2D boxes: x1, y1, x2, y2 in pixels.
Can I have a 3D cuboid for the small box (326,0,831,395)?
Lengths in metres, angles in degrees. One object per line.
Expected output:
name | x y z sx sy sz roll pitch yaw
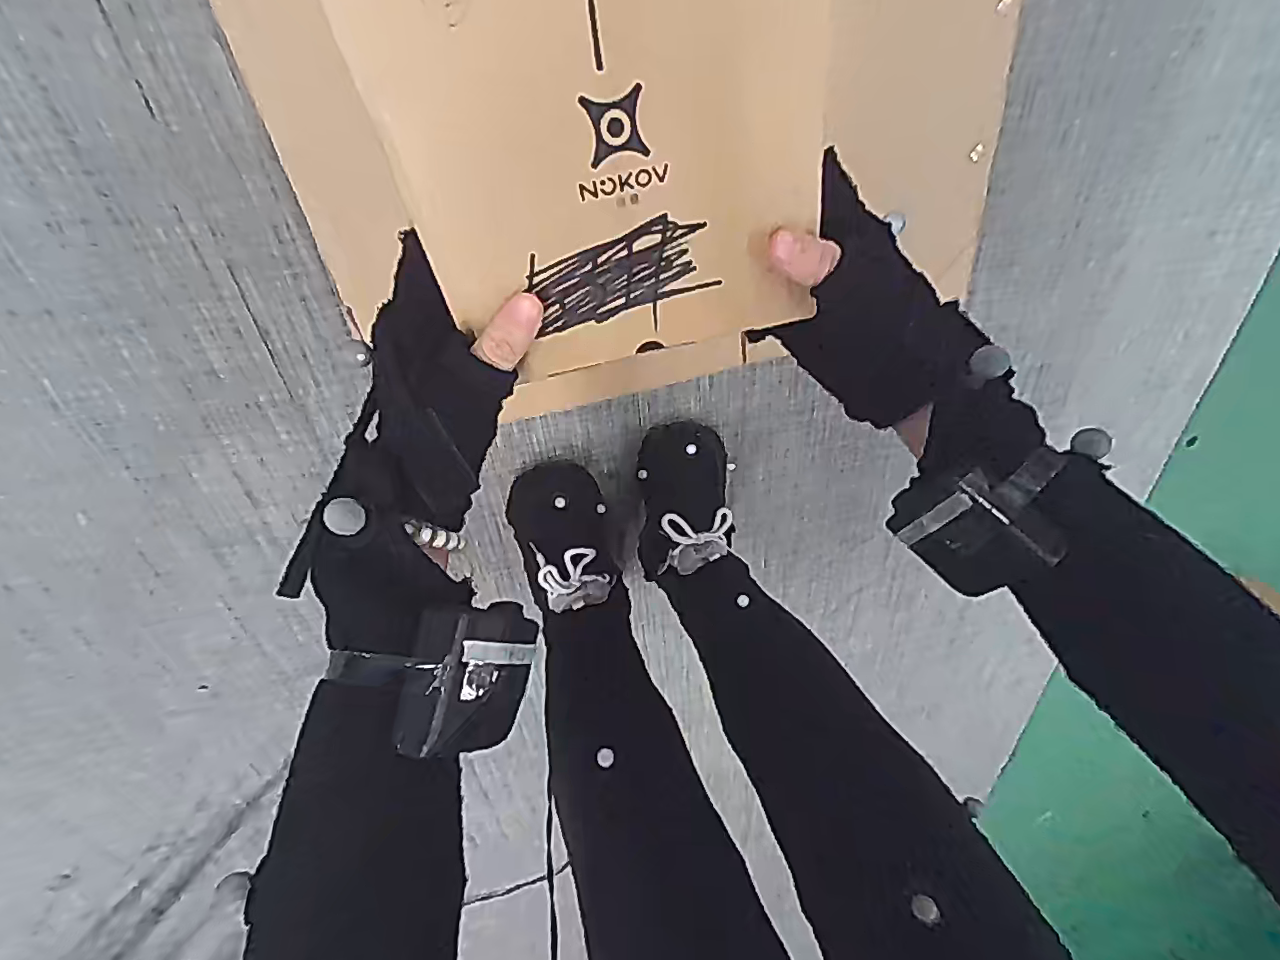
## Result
small box | -0.021 -0.174 0.271 0.168 0.176 0.179 -14 132 -1
